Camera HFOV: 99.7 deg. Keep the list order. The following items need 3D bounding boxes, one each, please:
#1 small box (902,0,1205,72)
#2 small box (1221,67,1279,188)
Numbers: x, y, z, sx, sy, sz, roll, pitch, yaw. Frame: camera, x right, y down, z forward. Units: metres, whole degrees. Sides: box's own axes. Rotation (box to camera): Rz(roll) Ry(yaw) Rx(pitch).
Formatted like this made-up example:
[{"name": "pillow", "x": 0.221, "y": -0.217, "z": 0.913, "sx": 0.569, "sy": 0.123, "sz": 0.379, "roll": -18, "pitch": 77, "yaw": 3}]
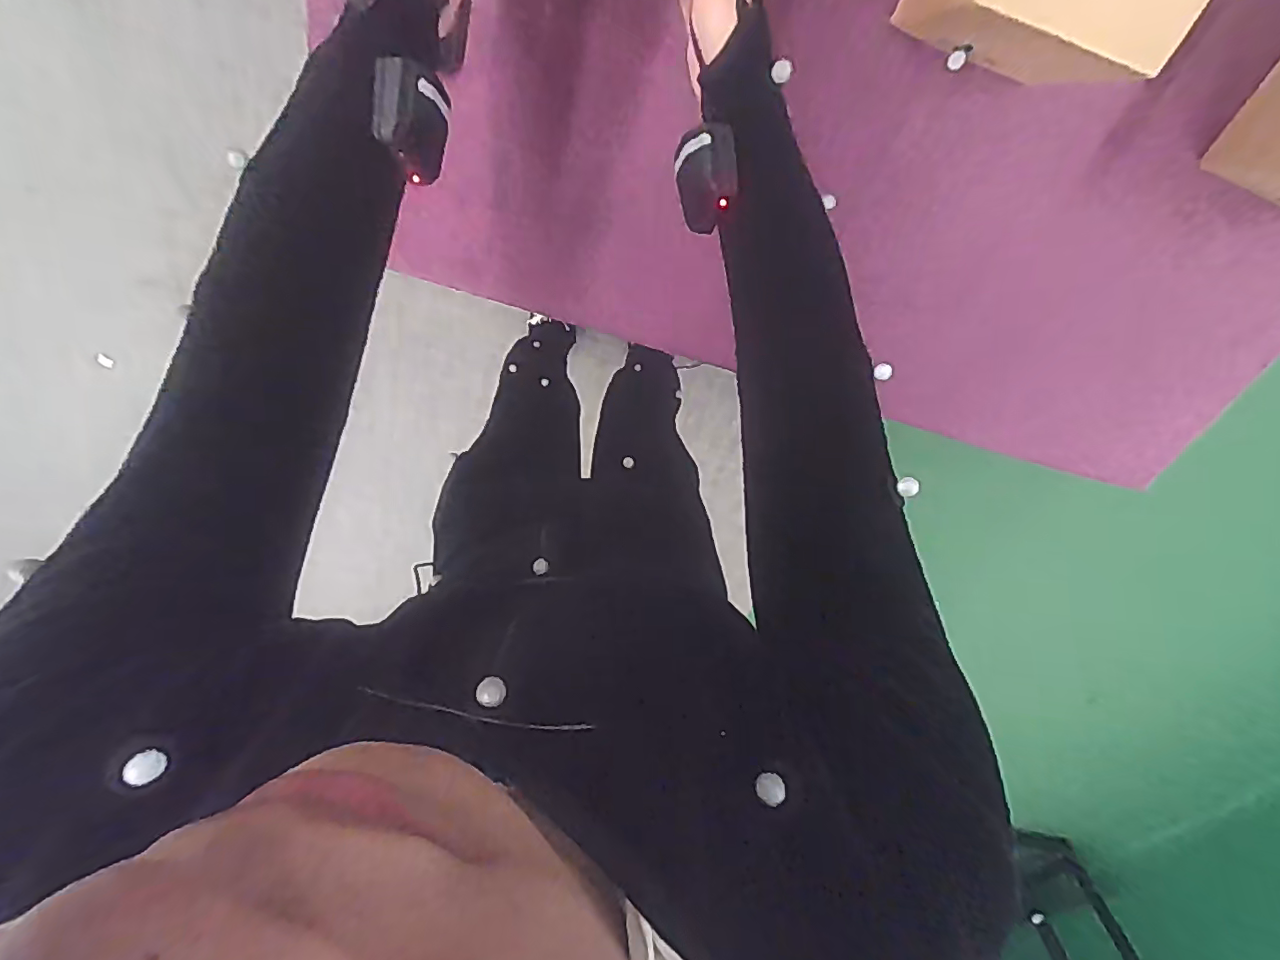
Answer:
[{"name": "small box", "x": 0.337, "y": -0.444, "z": 0.413, "sx": 0.168, "sy": 0.176, "sz": 0.179, "roll": 14, "pitch": 124, "yaw": -9}, {"name": "small box", "x": 0.709, "y": -0.351, "z": 0.477, "sx": 0.168, "sy": 0.176, "sz": 0.179, "roll": 16, "pitch": 123, "yaw": -10}]
